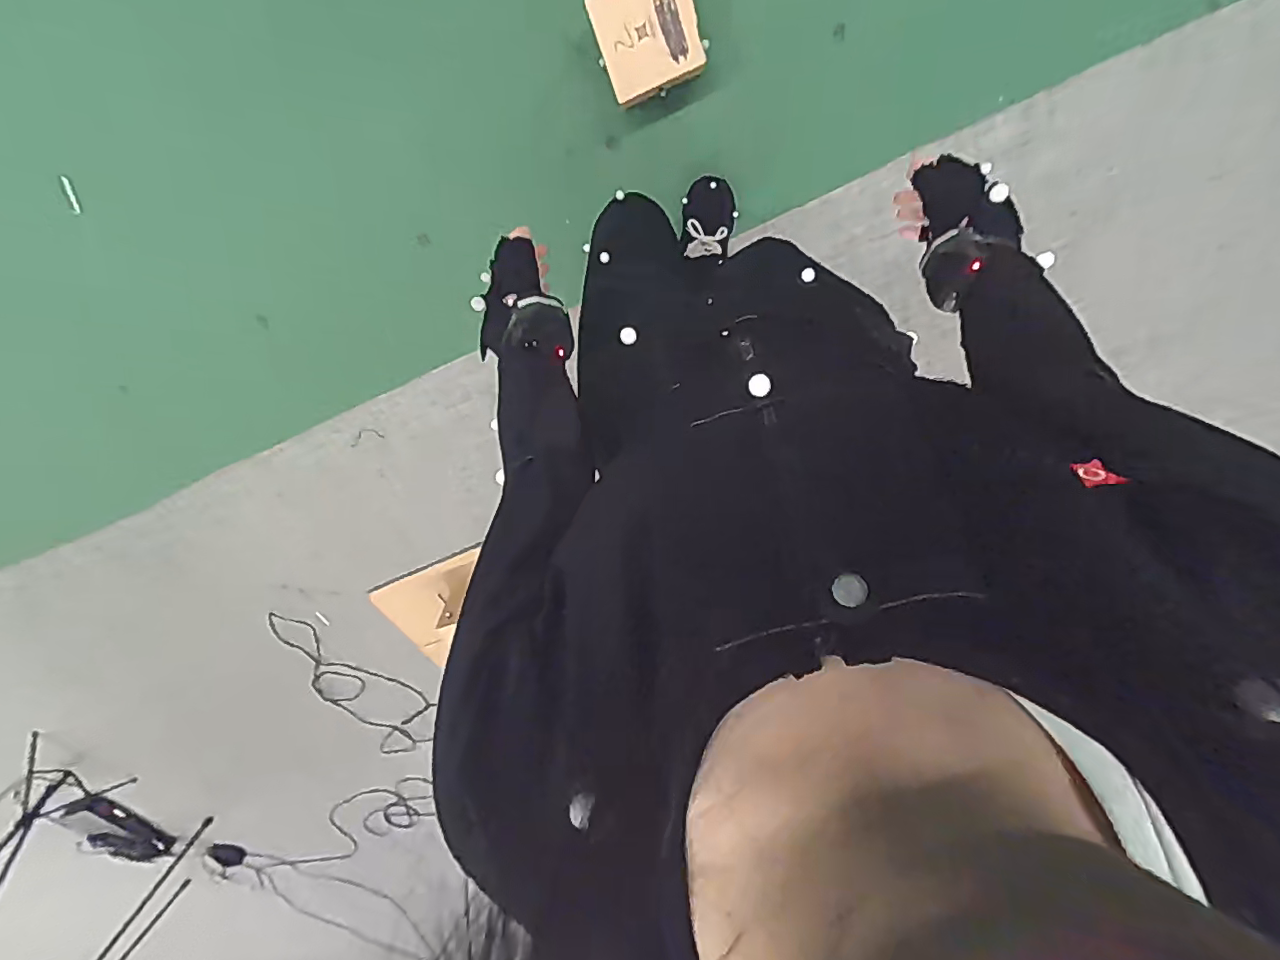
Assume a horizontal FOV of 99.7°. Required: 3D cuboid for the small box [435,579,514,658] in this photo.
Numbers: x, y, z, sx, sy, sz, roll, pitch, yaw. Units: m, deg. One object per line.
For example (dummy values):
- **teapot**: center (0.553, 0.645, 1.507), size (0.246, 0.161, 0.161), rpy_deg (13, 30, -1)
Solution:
- **small box**: center (-0.545, 0.459, 1.808), size (0.179, 0.176, 0.168), rpy_deg (-19, 121, 11)
